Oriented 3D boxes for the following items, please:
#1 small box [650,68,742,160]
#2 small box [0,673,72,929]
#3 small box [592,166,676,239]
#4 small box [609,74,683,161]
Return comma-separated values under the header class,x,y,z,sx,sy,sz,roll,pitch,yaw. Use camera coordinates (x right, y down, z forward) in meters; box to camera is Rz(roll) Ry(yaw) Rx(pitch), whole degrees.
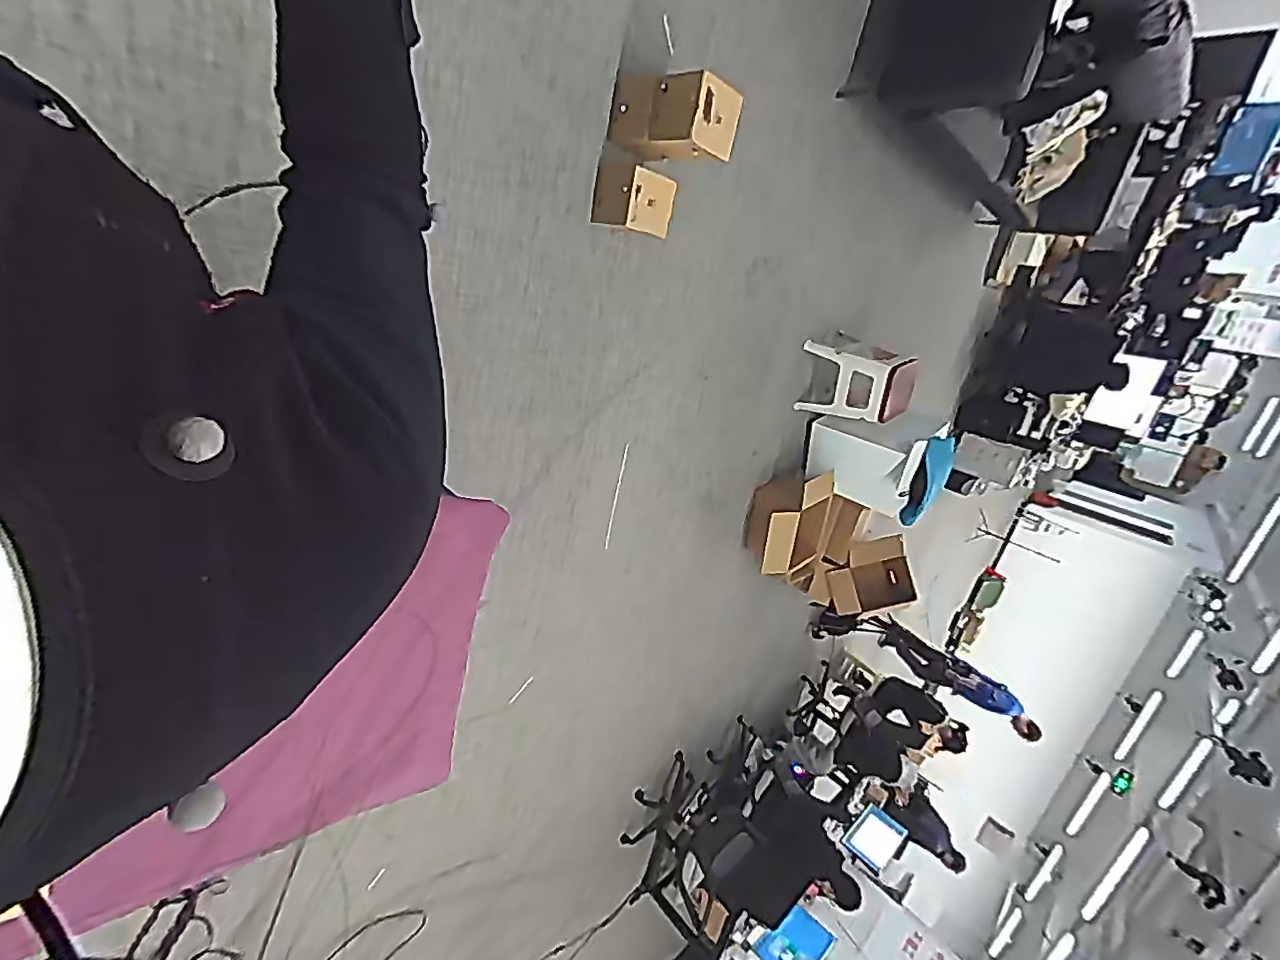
class,x,y,z,sx,sy,sz,roll,pitch,yaw
small box,0.151,-1.009,1.509,0.179,0.176,0.168,-7,116,-45
small box,-0.674,0.323,0.524,0.168,0.176,0.179,2,110,-48
small box,-0.020,-0.859,1.671,0.179,0.176,0.168,-8,117,-45
small box,0.036,-1.070,1.608,0.179,0.176,0.168,-5,114,-45
